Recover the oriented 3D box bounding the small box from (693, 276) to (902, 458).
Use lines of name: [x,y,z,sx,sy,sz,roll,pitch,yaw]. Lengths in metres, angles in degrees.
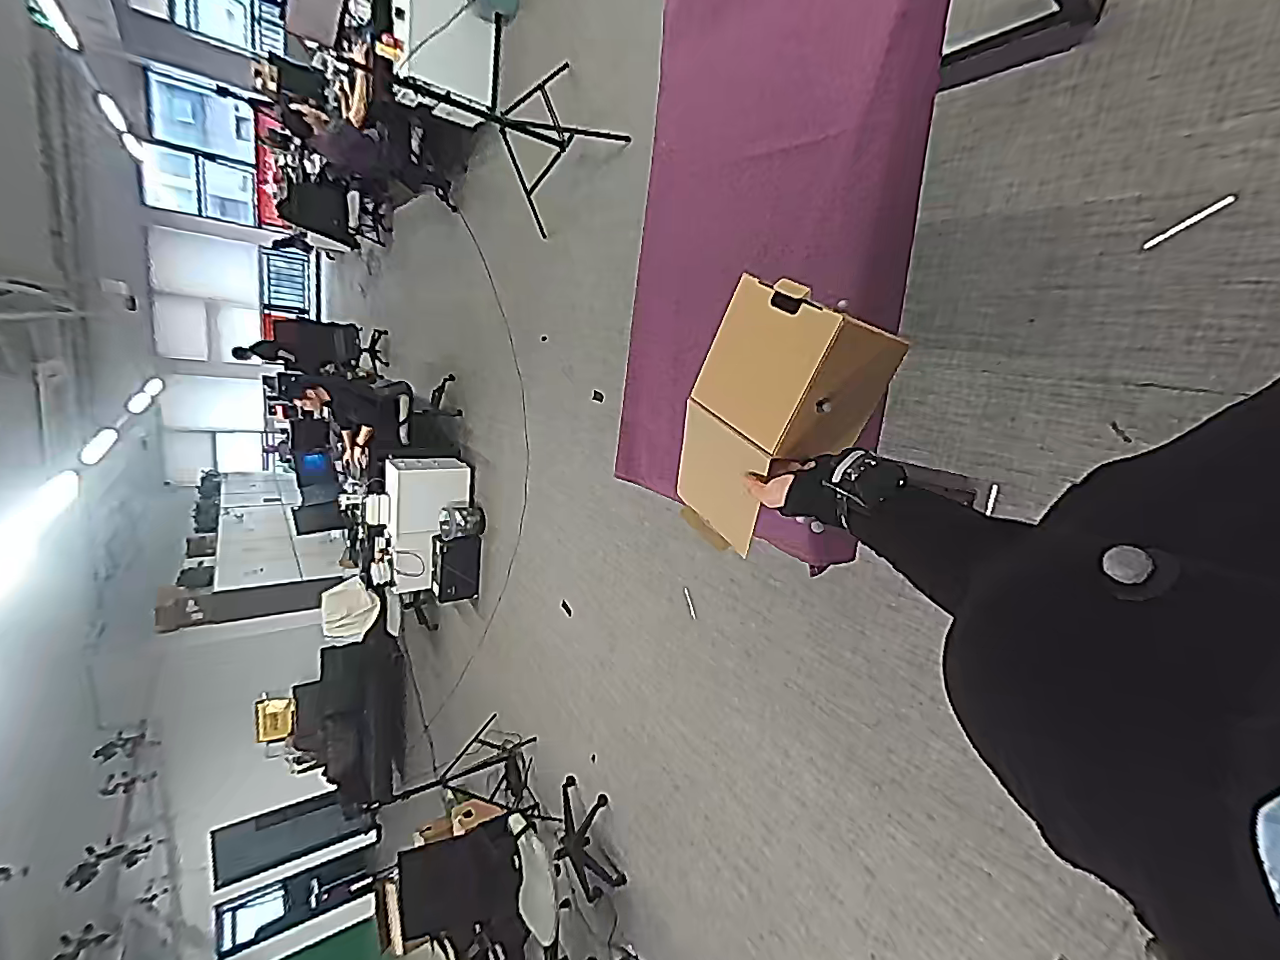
small box: [0.208,-0.140,0.716,0.168,0.176,0.179,45,121,40]
